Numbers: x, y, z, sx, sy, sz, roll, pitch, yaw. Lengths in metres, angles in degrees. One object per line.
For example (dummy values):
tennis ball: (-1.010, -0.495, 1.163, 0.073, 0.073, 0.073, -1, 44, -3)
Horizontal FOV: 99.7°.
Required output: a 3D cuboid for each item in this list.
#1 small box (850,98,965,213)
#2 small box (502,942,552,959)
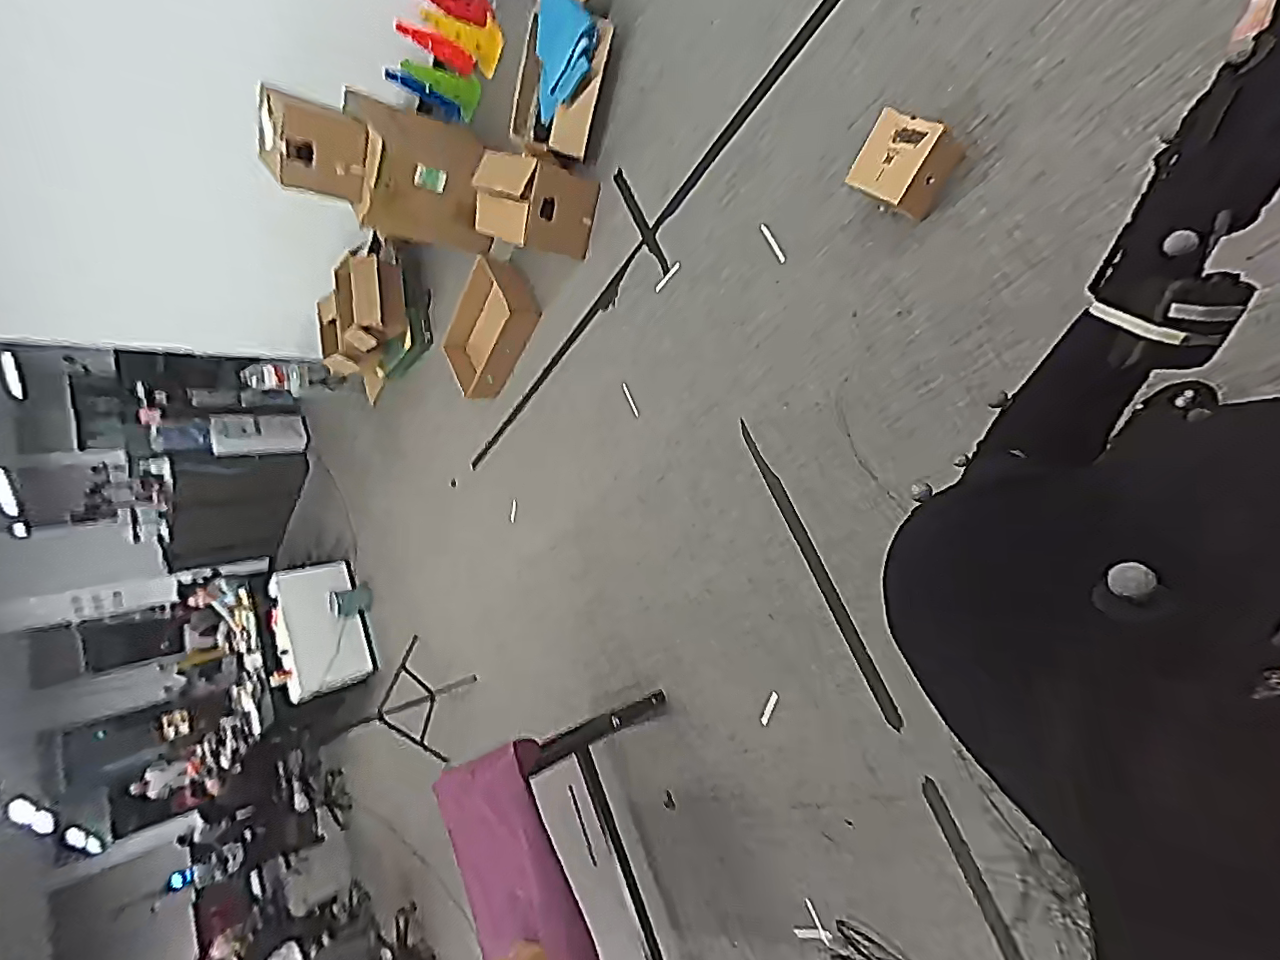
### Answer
small box: (0.662, -0.788, 1.326, 0.168, 0.176, 0.179, 48, 127, 31)
small box: (-0.350, 1.524, 1.606, 0.168, 0.176, 0.179, -40, 66, 42)
